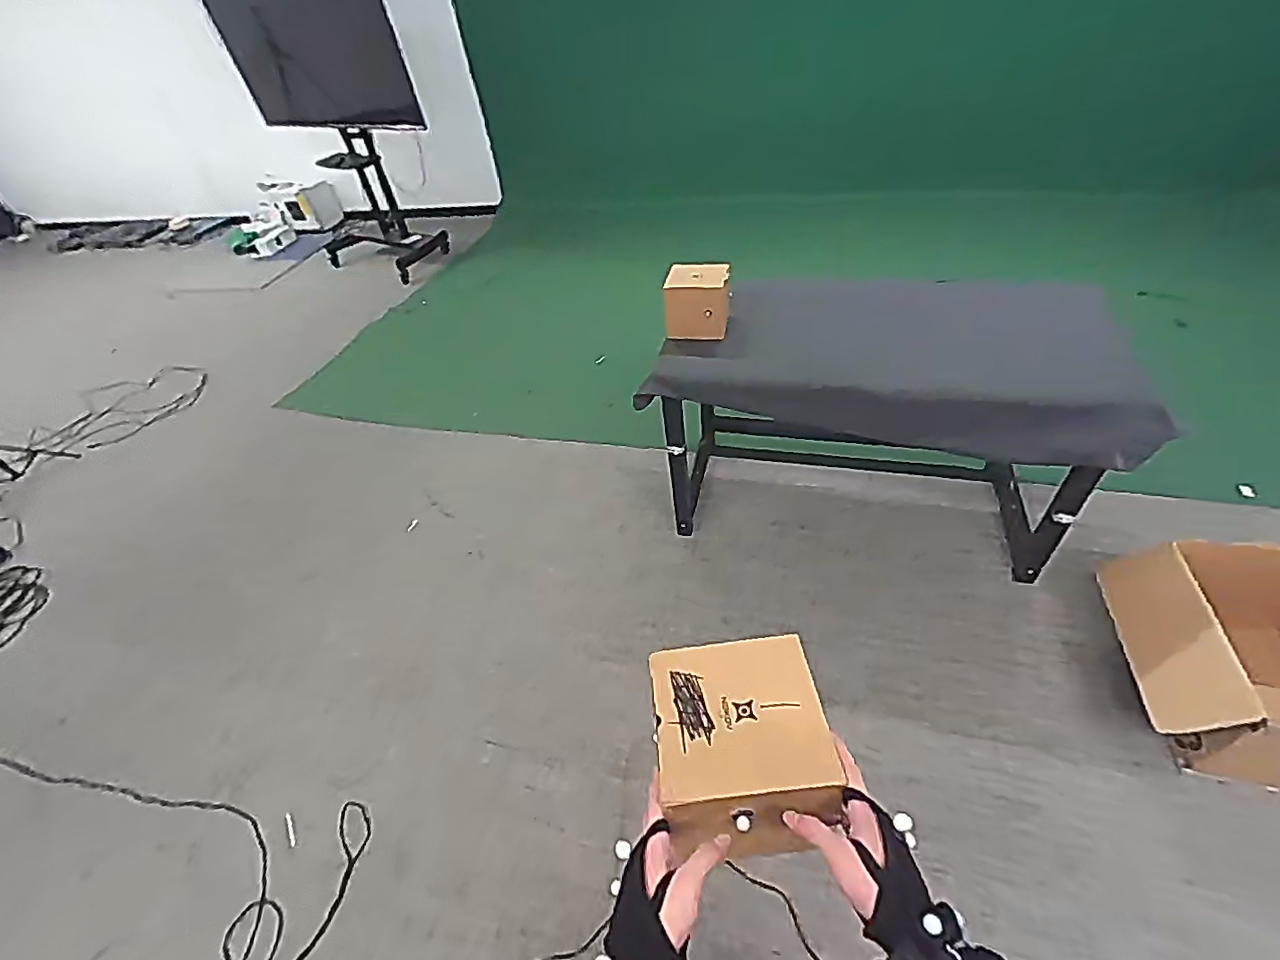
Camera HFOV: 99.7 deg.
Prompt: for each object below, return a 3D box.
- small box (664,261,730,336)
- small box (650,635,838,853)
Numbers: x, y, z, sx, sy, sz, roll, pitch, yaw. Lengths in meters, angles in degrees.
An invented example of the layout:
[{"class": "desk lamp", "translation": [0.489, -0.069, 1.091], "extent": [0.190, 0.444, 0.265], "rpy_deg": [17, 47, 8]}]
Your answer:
[{"class": "small box", "translation": [0.178, -0.551, 1.648], "extent": [0.179, 0.176, 0.168], "rpy_deg": [3, 44, 14]}, {"class": "small box", "translation": [0.110, 0.298, 0.607], "extent": [0.179, 0.176, 0.168], "rpy_deg": [-7, 40, 6]}]
